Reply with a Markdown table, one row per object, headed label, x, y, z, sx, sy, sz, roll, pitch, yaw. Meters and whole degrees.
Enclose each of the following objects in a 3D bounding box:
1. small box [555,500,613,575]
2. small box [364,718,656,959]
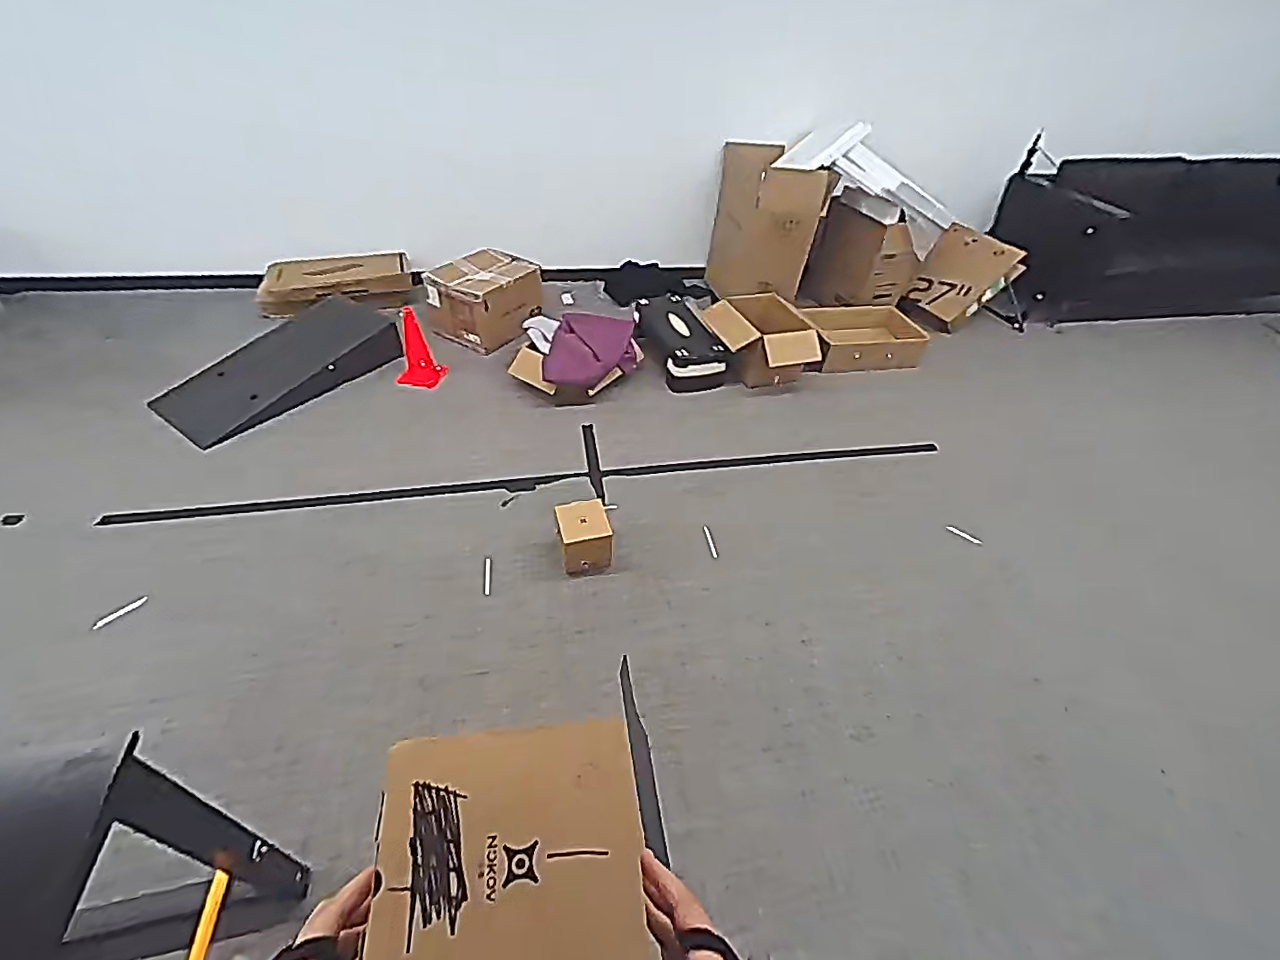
| label | x | y | z | sx | sy | sz | roll | pitch | yaw |
| --- | --- | --- | --- | --- | --- | --- | --- | --- | --- |
| small box | -0.196 | 0.200 | 1.874 | 0.168 | 0.176 | 0.179 | -11 | 46 | -15 |
| small box | -0.086 | 0.298 | 0.414 | 0.179 | 0.176 | 0.168 | -4 | 54 | -7 |
